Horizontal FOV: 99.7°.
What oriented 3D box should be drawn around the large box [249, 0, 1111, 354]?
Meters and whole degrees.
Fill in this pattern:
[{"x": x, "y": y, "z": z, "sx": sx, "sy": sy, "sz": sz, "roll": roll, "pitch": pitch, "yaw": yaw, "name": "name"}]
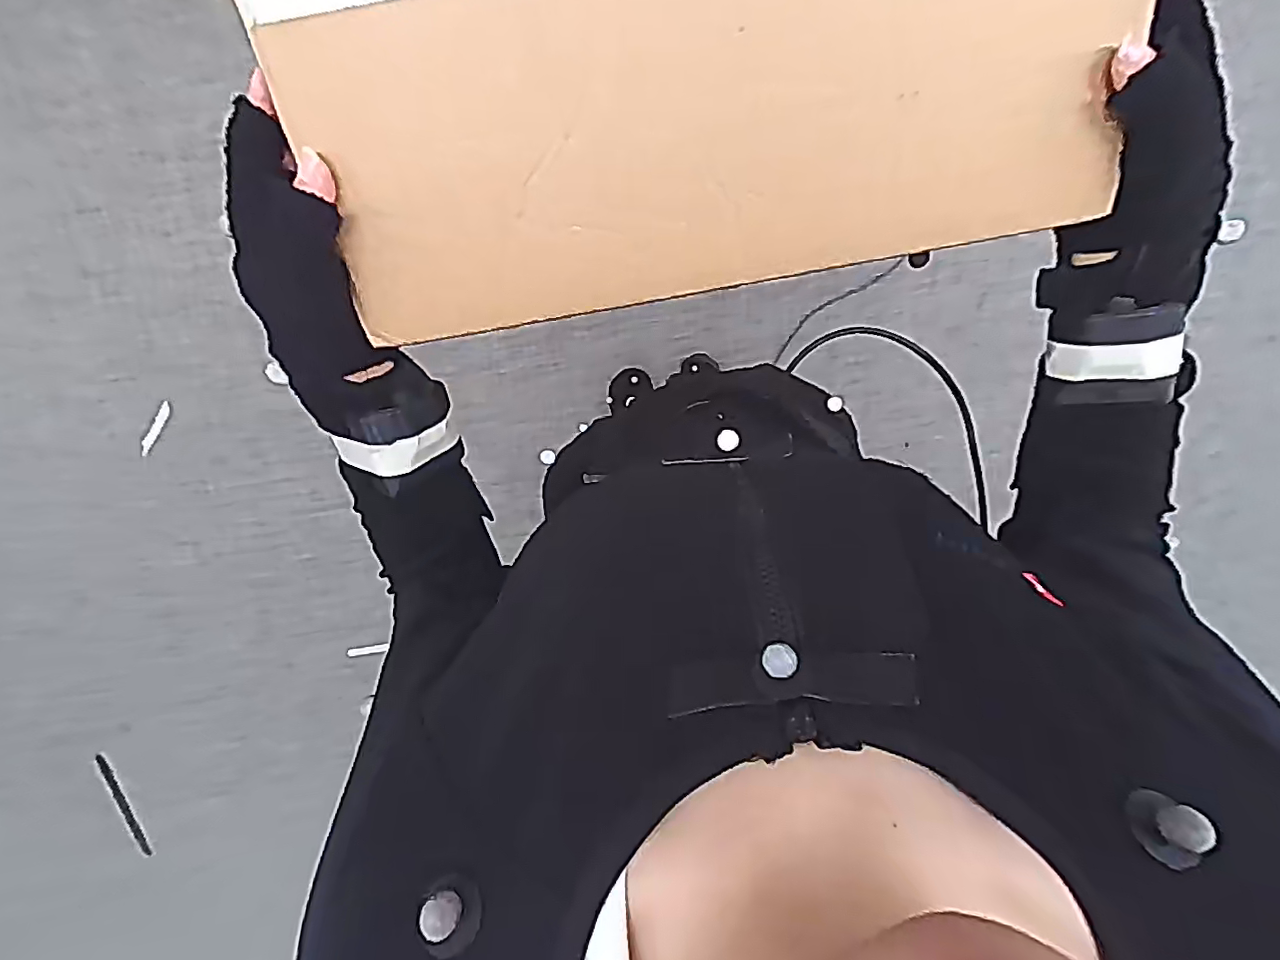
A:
[{"x": 0.016, "y": -0.309, "z": 0.373, "sx": 0.408, "sy": 0.320, "sz": 0.320, "roll": -9, "pitch": 115, "yaw": 3, "name": "large box"}]
